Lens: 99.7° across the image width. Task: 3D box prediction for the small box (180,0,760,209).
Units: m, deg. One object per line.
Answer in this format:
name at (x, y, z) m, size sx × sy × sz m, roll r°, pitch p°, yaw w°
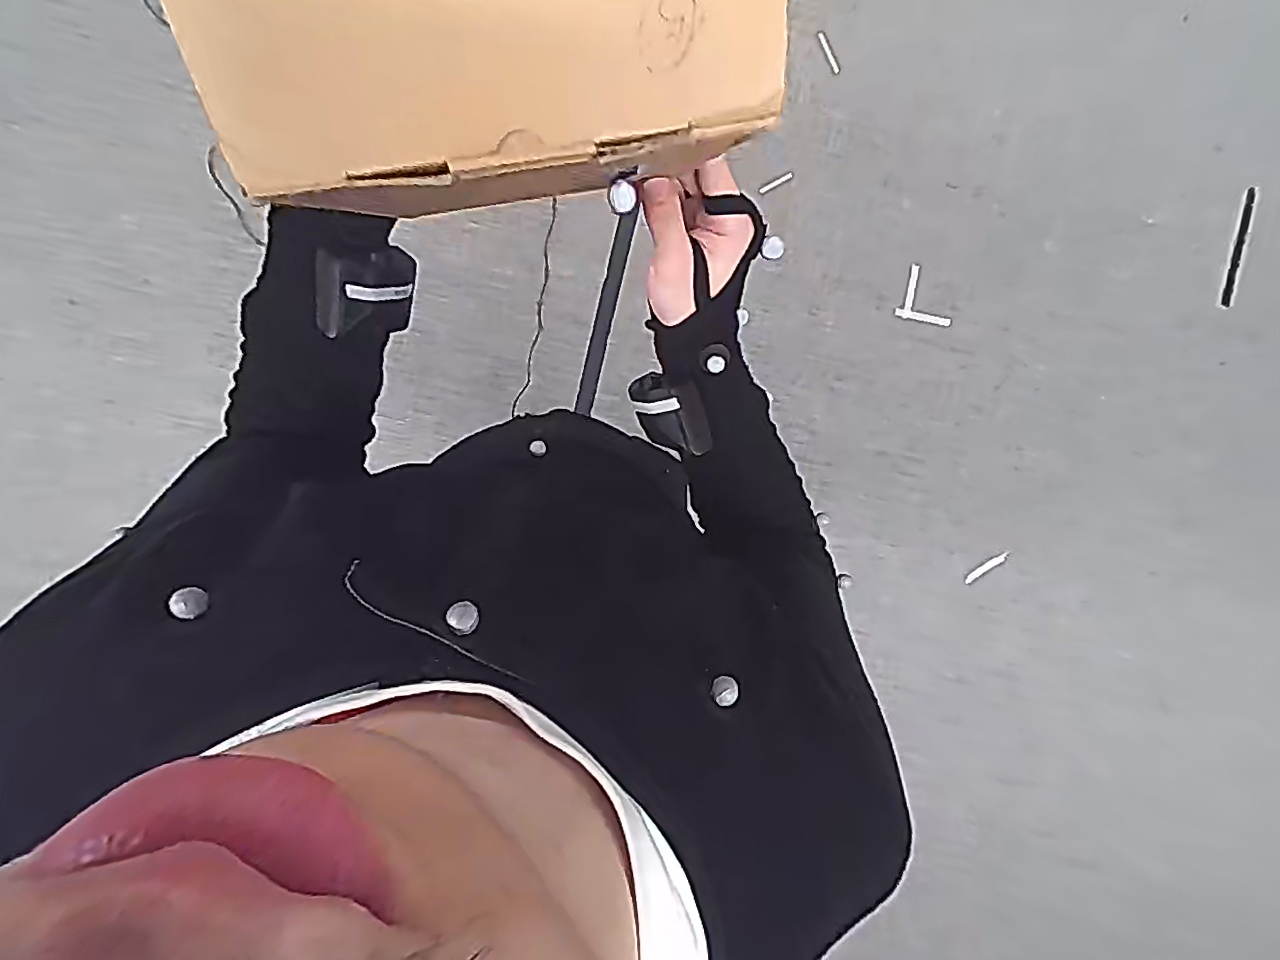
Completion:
small box at (-0.060, -0.212, 0.210) m, size 0.168 × 0.176 × 0.179 m, roll -11°, pitch 114°, yaw -3°
